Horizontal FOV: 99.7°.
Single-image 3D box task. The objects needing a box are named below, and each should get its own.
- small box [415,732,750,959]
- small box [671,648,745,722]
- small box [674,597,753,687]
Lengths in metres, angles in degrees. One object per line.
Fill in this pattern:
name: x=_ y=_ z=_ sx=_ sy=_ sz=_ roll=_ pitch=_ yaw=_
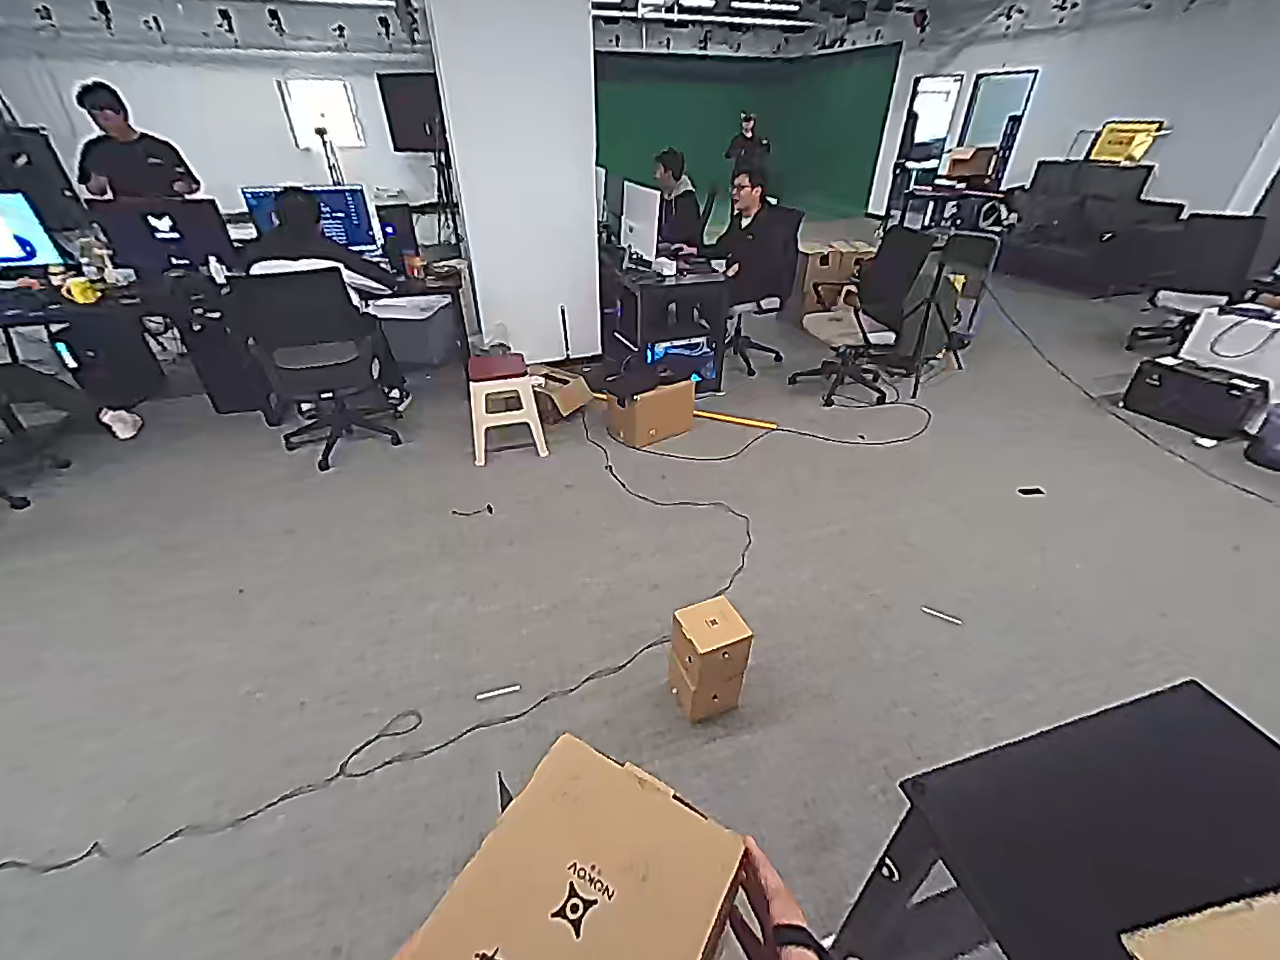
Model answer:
small box: x=-0.030 y=0.343 z=0.411 sx=0.168 sy=0.176 sz=0.179 roll=16 pitch=39 yaw=27
small box: x=0.206 y=0.621 z=1.693 sx=0.179 sy=0.176 sz=0.168 roll=-13 pitch=36 yaw=-17
small box: x=0.211 y=0.484 z=1.606 sx=0.179 sy=0.176 sz=0.168 roll=-13 pitch=37 yaw=-21
